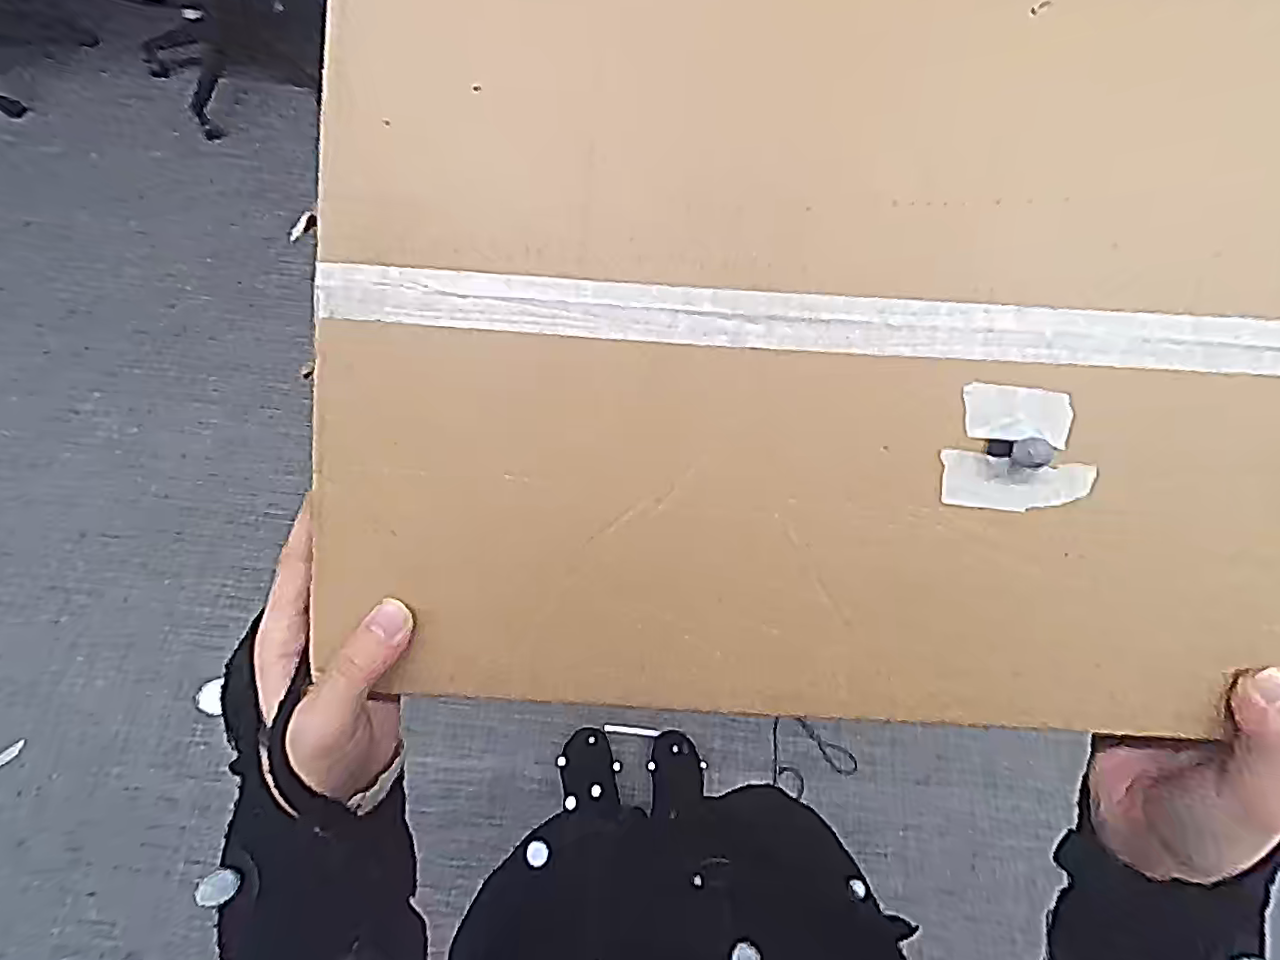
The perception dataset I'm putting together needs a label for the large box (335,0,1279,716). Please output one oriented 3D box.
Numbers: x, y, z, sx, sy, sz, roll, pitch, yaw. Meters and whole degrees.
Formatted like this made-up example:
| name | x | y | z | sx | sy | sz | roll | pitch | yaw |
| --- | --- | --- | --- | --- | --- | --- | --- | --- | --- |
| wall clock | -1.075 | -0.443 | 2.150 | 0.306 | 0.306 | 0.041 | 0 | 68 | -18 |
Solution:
| name | x | y | z | sx | sy | sz | roll | pitch | yaw |
| --- | --- | --- | --- | --- | --- | --- | --- | --- | --- |
| large box | 0.073 | -0.061 | 0.370 | 0.408 | 0.320 | 0.320 | 3 | 93 | -2 |
